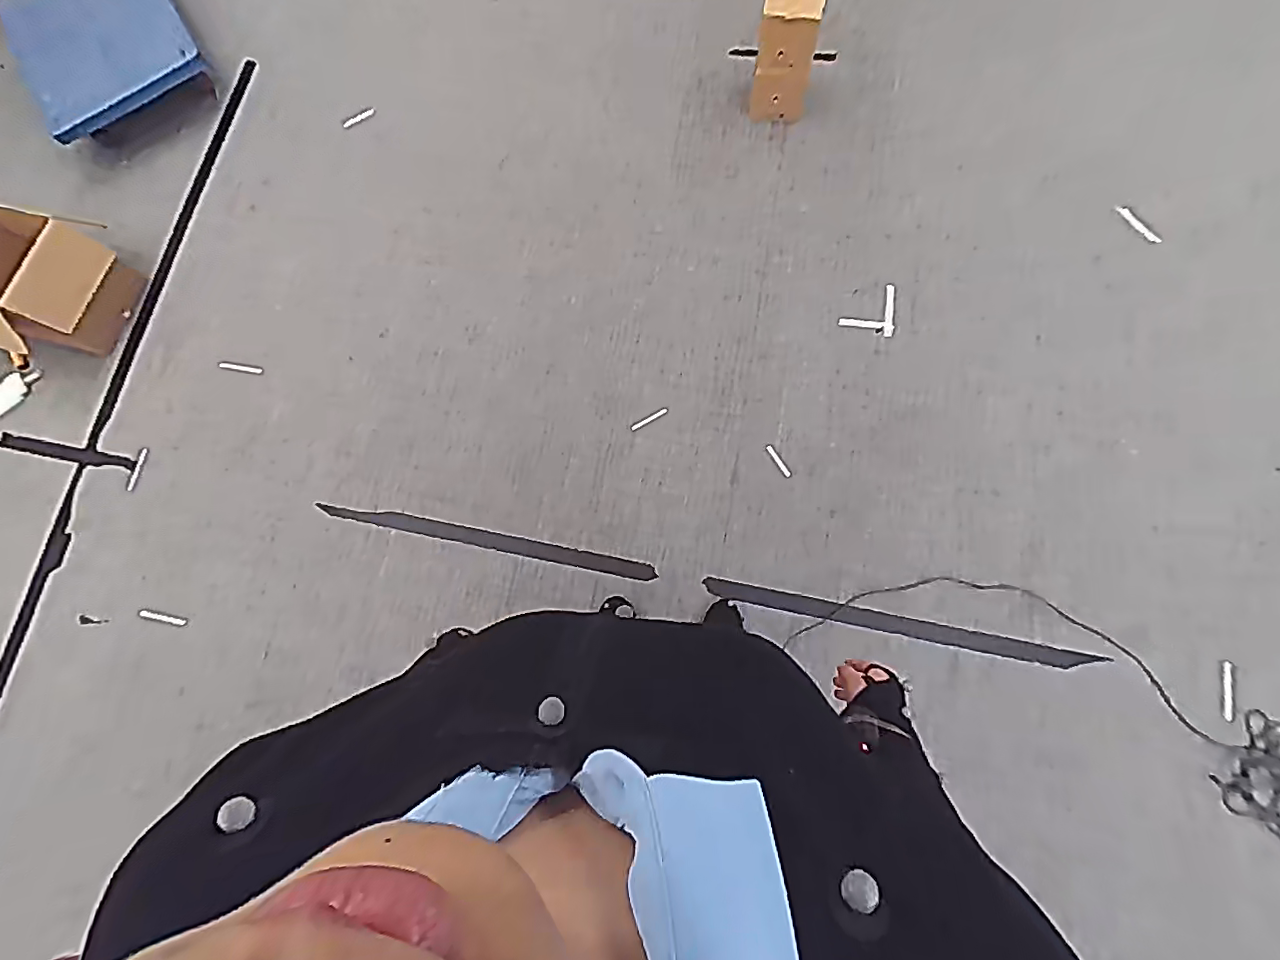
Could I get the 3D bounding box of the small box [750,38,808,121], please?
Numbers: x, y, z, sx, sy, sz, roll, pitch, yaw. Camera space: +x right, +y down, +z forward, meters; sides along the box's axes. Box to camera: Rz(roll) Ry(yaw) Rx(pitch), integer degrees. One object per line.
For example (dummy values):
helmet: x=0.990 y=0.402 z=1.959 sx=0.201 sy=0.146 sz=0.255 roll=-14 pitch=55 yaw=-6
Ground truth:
small box: x=0.455 y=-1.306 z=1.757 sx=0.168 sy=0.176 sz=0.179 roll=7 pitch=77 yaw=6

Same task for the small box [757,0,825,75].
small box: x=0.447 y=-1.351 z=1.600 sx=0.168 sy=0.176 sz=0.179 roll=9 pitch=79 yaw=7
